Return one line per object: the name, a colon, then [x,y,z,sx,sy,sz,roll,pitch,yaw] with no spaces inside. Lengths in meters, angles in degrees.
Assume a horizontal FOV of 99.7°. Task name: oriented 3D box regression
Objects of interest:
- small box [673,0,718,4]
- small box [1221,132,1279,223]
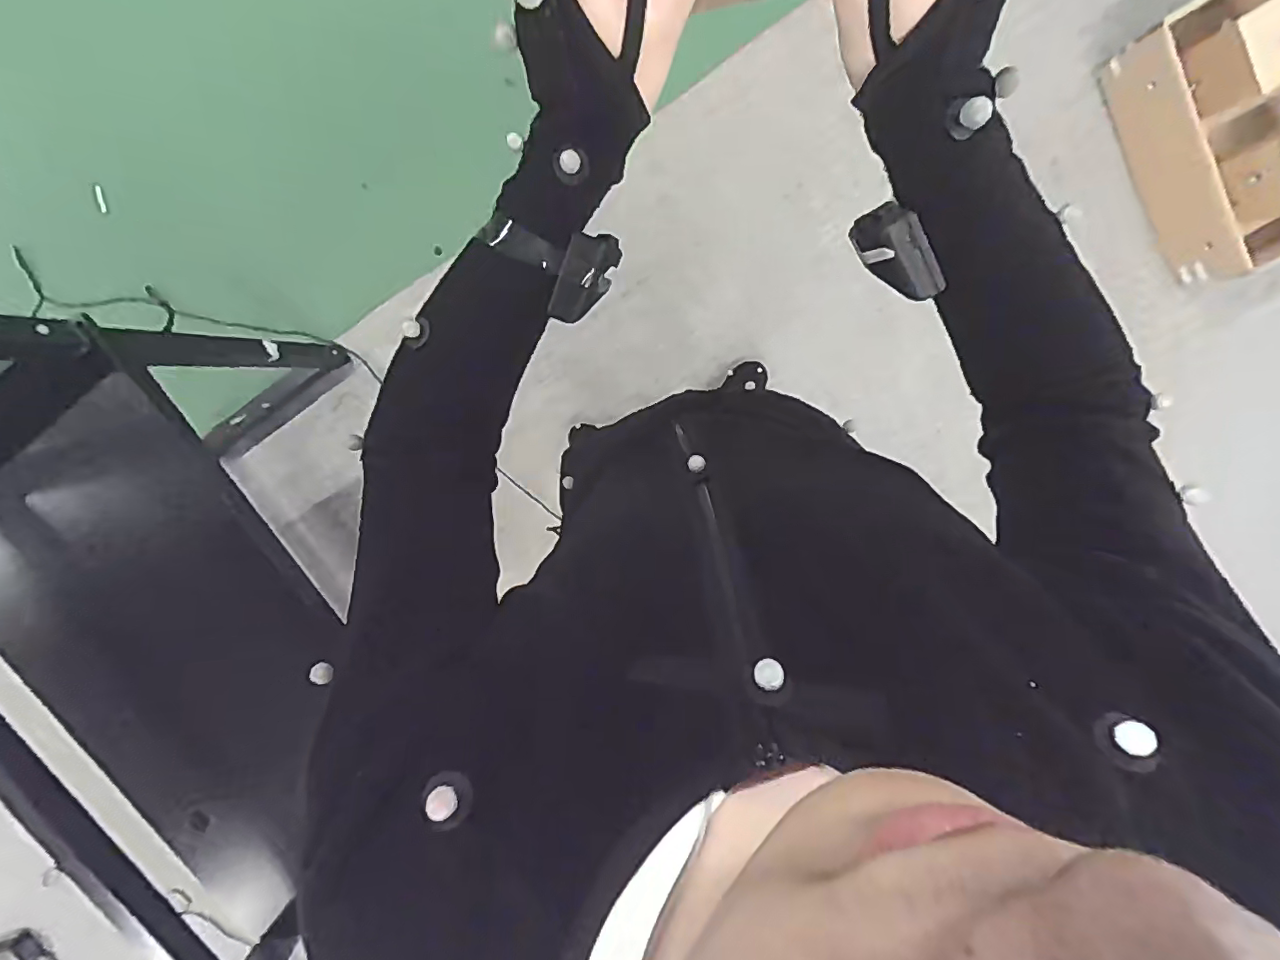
small box: [0.063,-0.376,0.254,0.168,0.176,0.179,0,97,14]
small box: [1.535,-0.735,1.265,0.179,0.176,0.168,-28,97,8]
